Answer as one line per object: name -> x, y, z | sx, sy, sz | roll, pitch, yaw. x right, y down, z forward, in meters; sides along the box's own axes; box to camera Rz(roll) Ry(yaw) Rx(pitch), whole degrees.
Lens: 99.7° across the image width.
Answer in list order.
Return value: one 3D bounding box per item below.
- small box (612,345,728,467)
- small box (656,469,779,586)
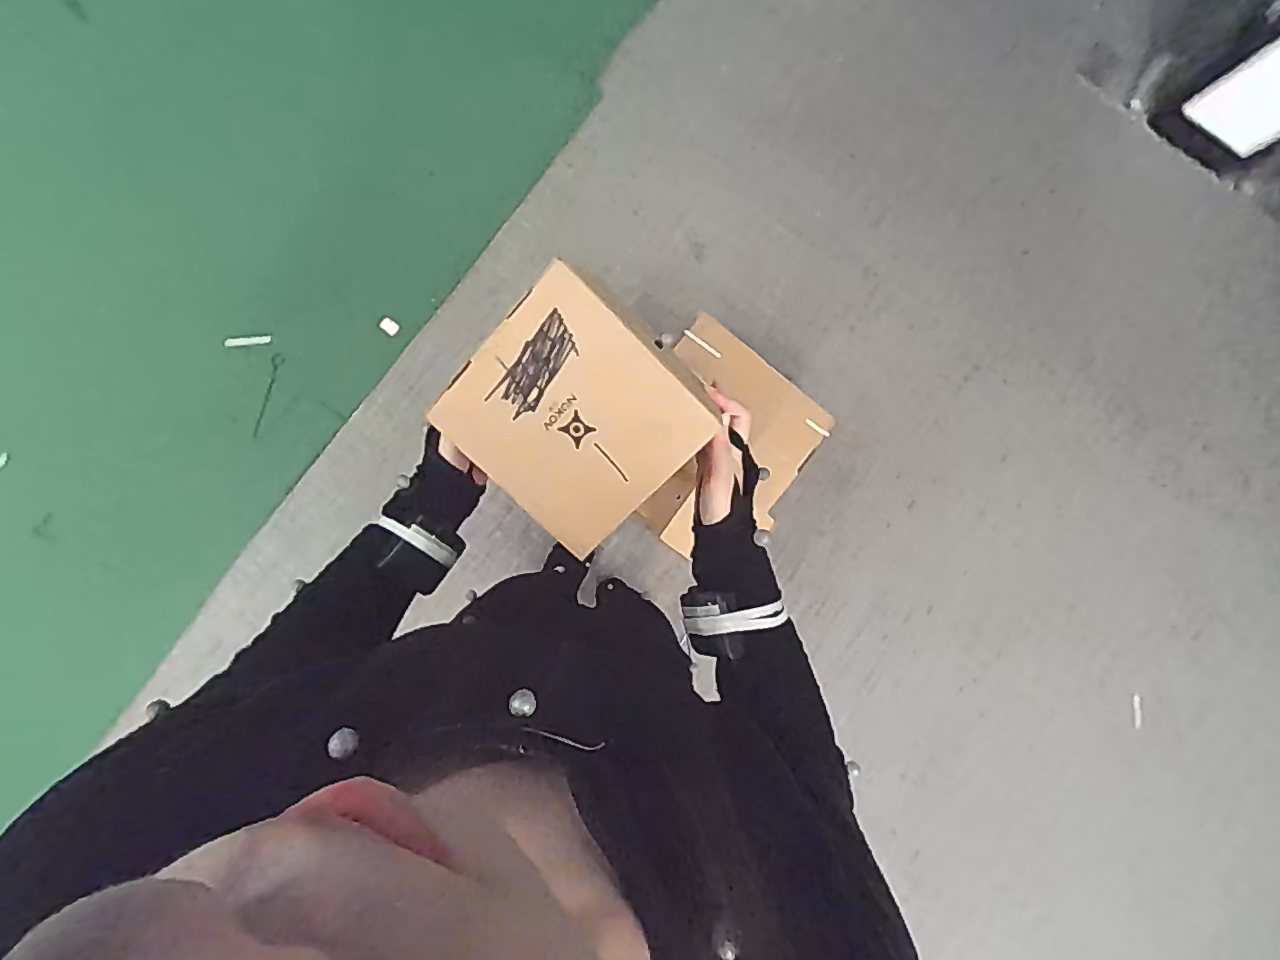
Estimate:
small box -> 0.052, -0.145, 1.132 | 0.168, 0.176, 0.179 | 38, 84, -1
small box -> 0.152, 0.094, 1.126 | 0.179, 0.176, 0.168 | 37, 85, -2
